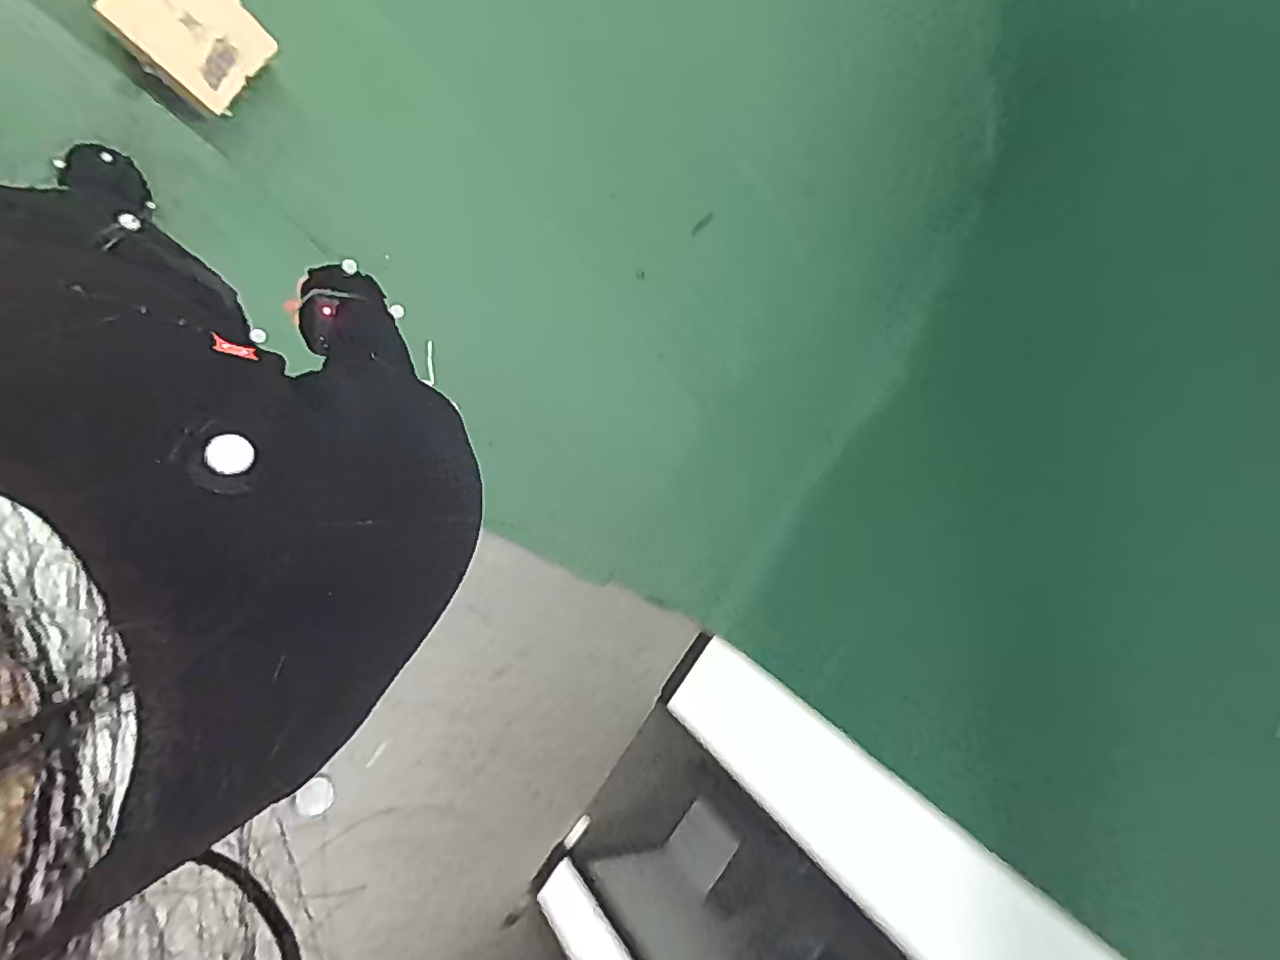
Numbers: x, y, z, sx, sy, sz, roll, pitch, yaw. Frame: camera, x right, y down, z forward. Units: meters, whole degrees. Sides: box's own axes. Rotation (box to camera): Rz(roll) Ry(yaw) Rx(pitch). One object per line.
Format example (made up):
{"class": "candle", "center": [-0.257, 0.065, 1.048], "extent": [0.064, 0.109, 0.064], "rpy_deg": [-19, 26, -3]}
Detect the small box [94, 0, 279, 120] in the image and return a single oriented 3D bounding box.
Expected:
{"class": "small box", "center": [-0.766, -0.753, 0.922], "extent": [0.168, 0.176, 0.179], "rpy_deg": [-53, 137, -5]}
